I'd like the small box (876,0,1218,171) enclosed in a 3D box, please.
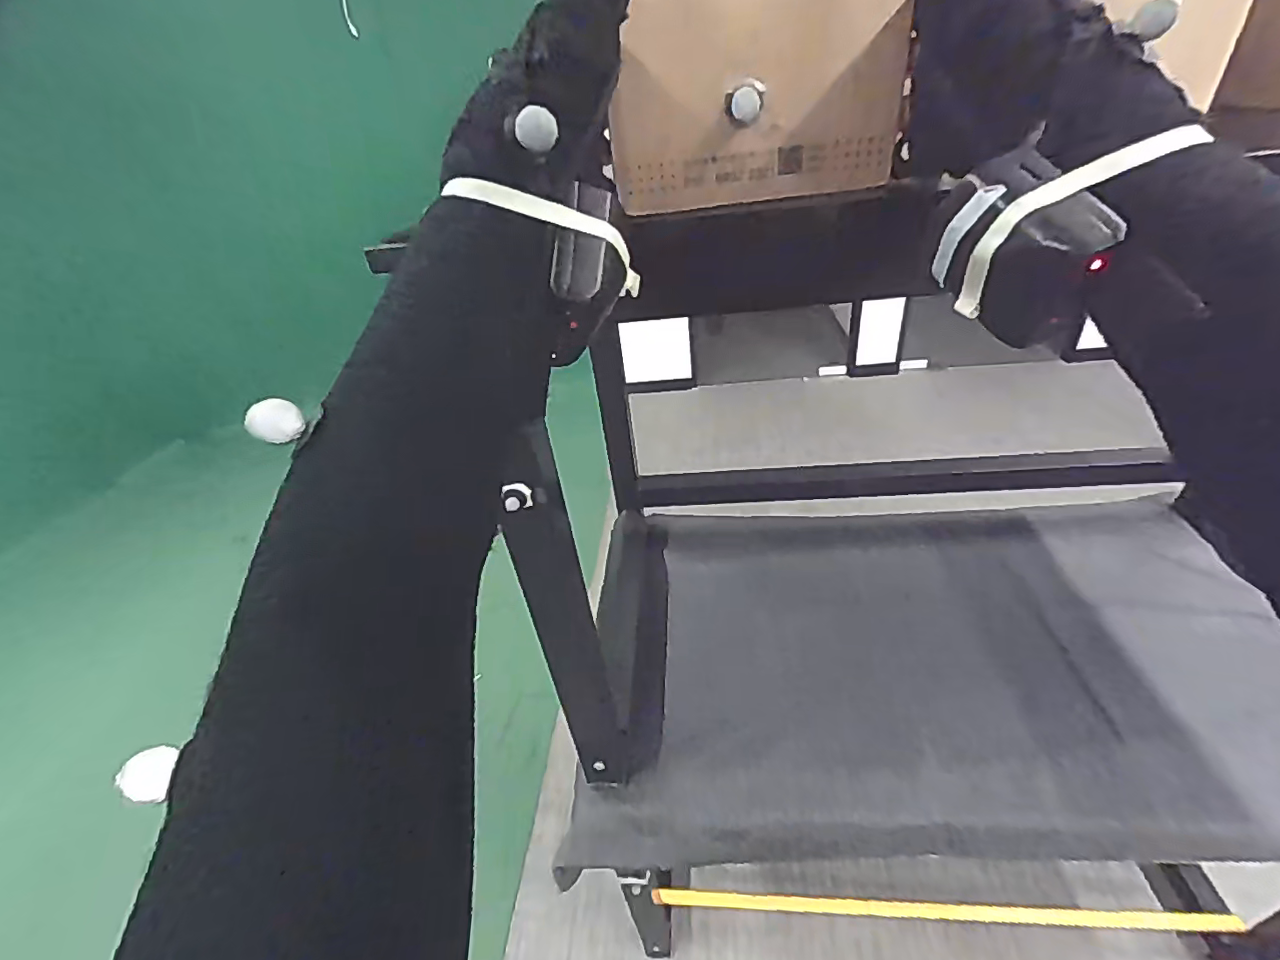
[{"bbox_3d":[0.292,-0.343,0.411,0.168,0.176,0.179,-3,34,8],"label":"small box"}]

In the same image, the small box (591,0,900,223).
[{"bbox_3d":[0.056,-0.280,0.362,0.168,0.176,0.179,-6,35,3],"label":"small box"}]
